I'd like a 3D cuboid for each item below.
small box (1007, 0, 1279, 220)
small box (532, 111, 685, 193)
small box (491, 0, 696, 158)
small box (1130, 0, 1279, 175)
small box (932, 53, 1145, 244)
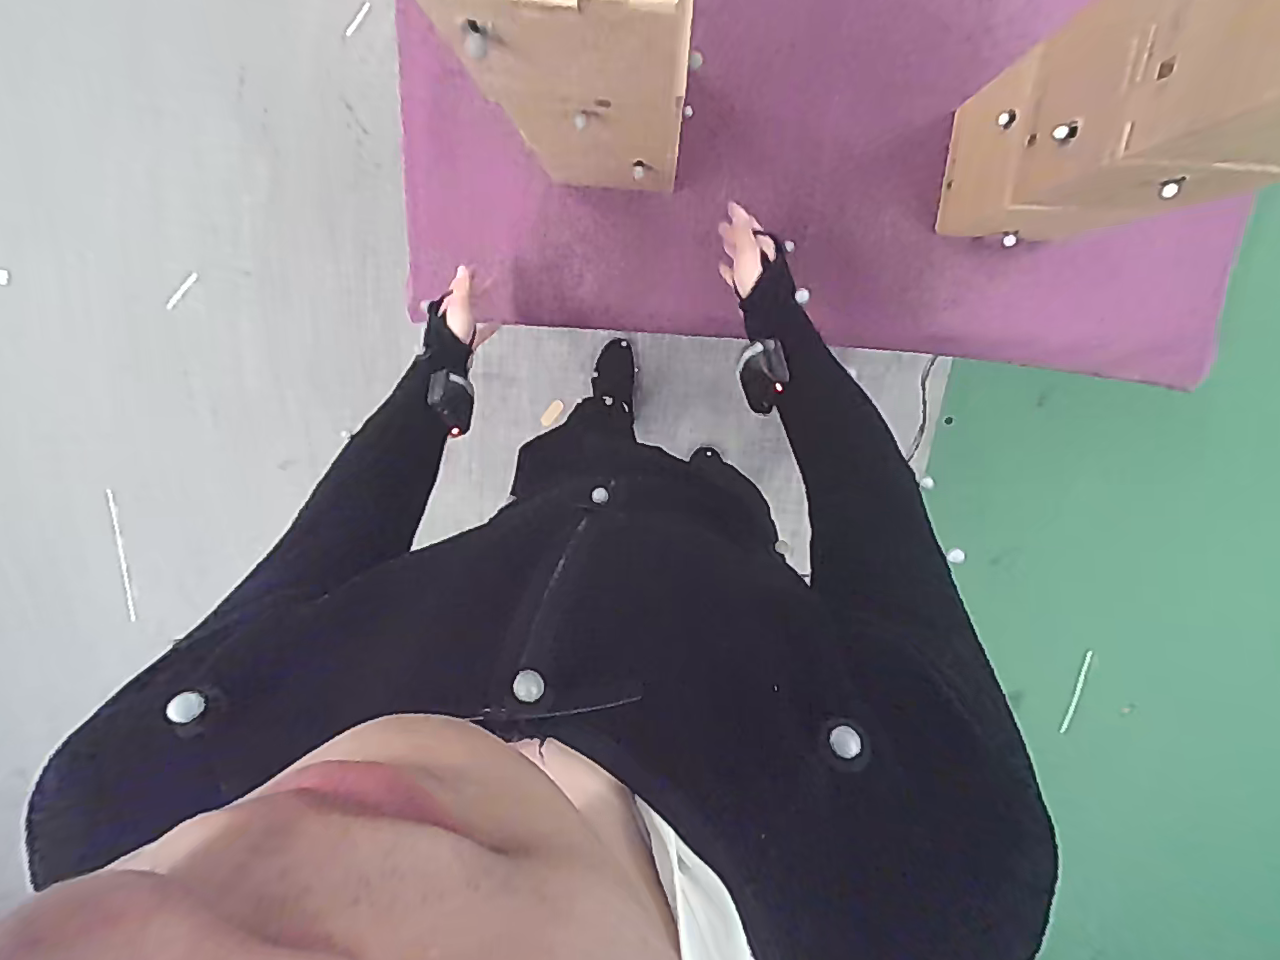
[{"bbox_3d":[0.513,-0.368,0.536,0.179,0.176,0.168,5,105,1],"label":"small box"},{"bbox_3d":[-0.033,-0.480,0.691,0.179,0.176,0.168,5,105,0],"label":"small box"},{"bbox_3d":[-0.037,-0.437,0.535,0.179,0.176,0.168,5,105,1],"label":"small box"},{"bbox_3d":[0.511,-0.328,0.377,0.179,0.176,0.168,4,106,1],"label":"small box"},{"bbox_3d":[0.516,-0.407,0.695,0.179,0.176,0.168,4,104,1],"label":"small box"}]
